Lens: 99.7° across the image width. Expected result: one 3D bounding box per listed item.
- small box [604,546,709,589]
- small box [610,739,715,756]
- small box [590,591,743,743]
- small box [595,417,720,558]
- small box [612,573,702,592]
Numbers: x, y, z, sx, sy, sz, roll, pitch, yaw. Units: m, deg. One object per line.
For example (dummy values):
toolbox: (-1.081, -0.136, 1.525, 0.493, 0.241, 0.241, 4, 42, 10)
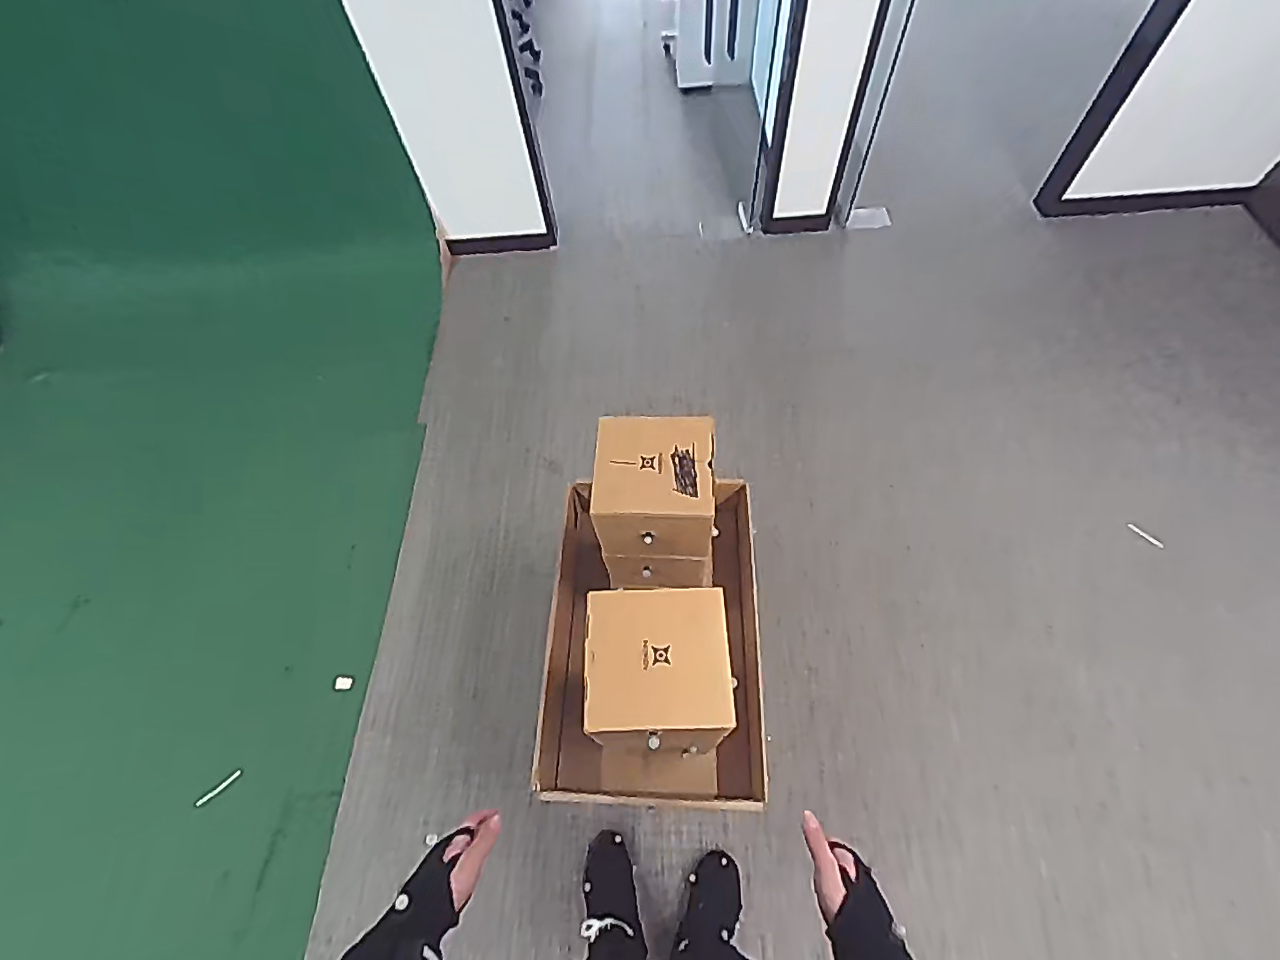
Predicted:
small box: (0.038, 0.096, 0.998, 0.179, 0.176, 0.168, 2, 62, 5)
small box: (0.041, 0.414, 1.002, 0.179, 0.176, 0.168, 0, 60, 3)
small box: (0.031, 0.252, 0.719, 0.179, 0.176, 0.168, -2, 60, 2)
small box: (0.031, 0.017, 0.853, 0.179, 0.176, 0.168, 2, 62, 4)
small box: (0.043, 0.178, 1.140, 0.179, 0.176, 0.168, 4, 62, 4)
